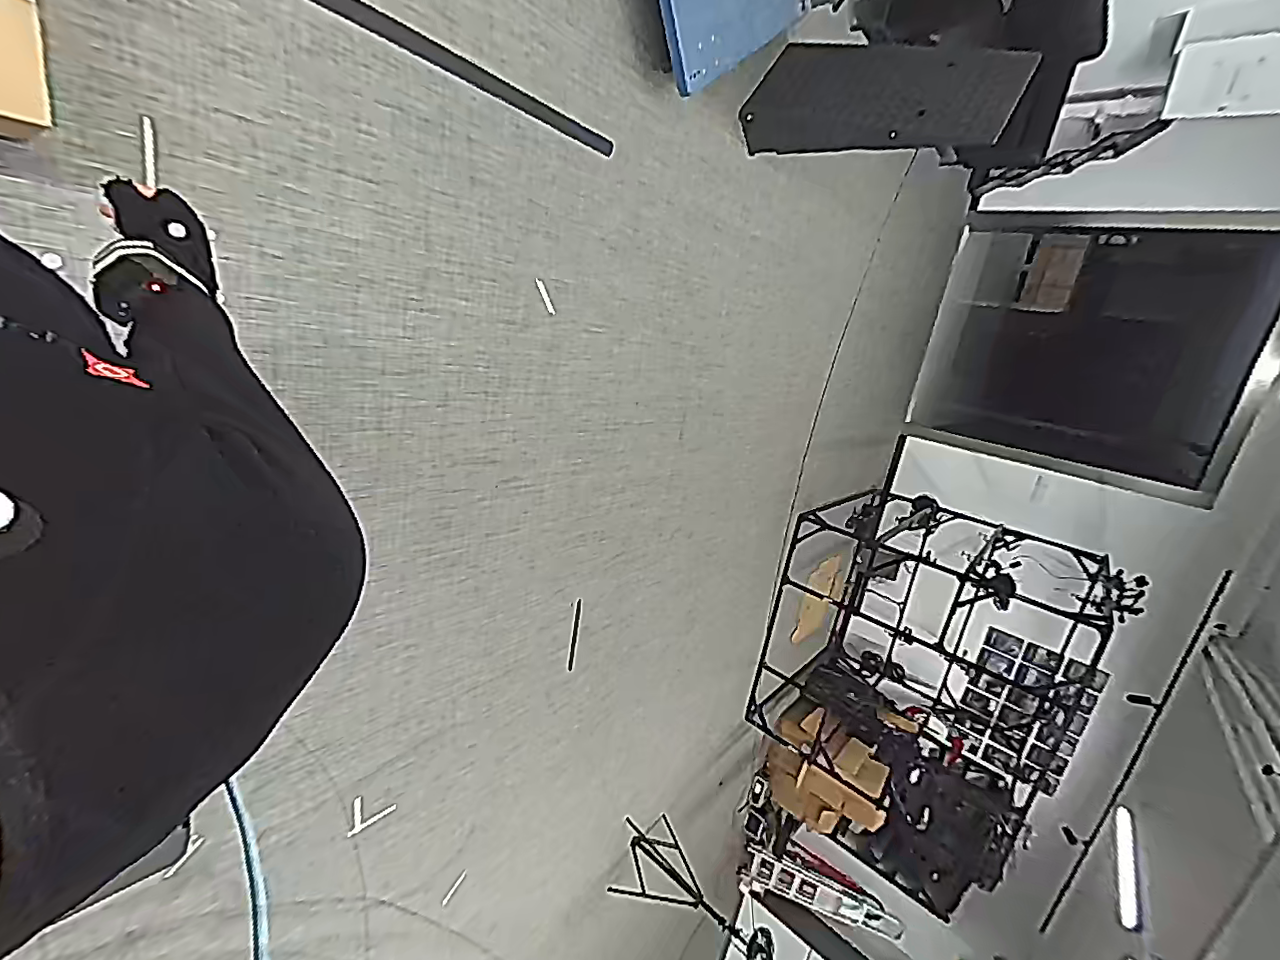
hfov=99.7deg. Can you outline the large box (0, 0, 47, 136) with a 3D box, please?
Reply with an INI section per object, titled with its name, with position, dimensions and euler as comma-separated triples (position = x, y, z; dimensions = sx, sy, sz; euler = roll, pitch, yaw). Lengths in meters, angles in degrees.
[large box]
position = -1.045, -0.655, 0.642
dimensions = 0.408, 0.320, 0.320
euler = -13, 118, -51
